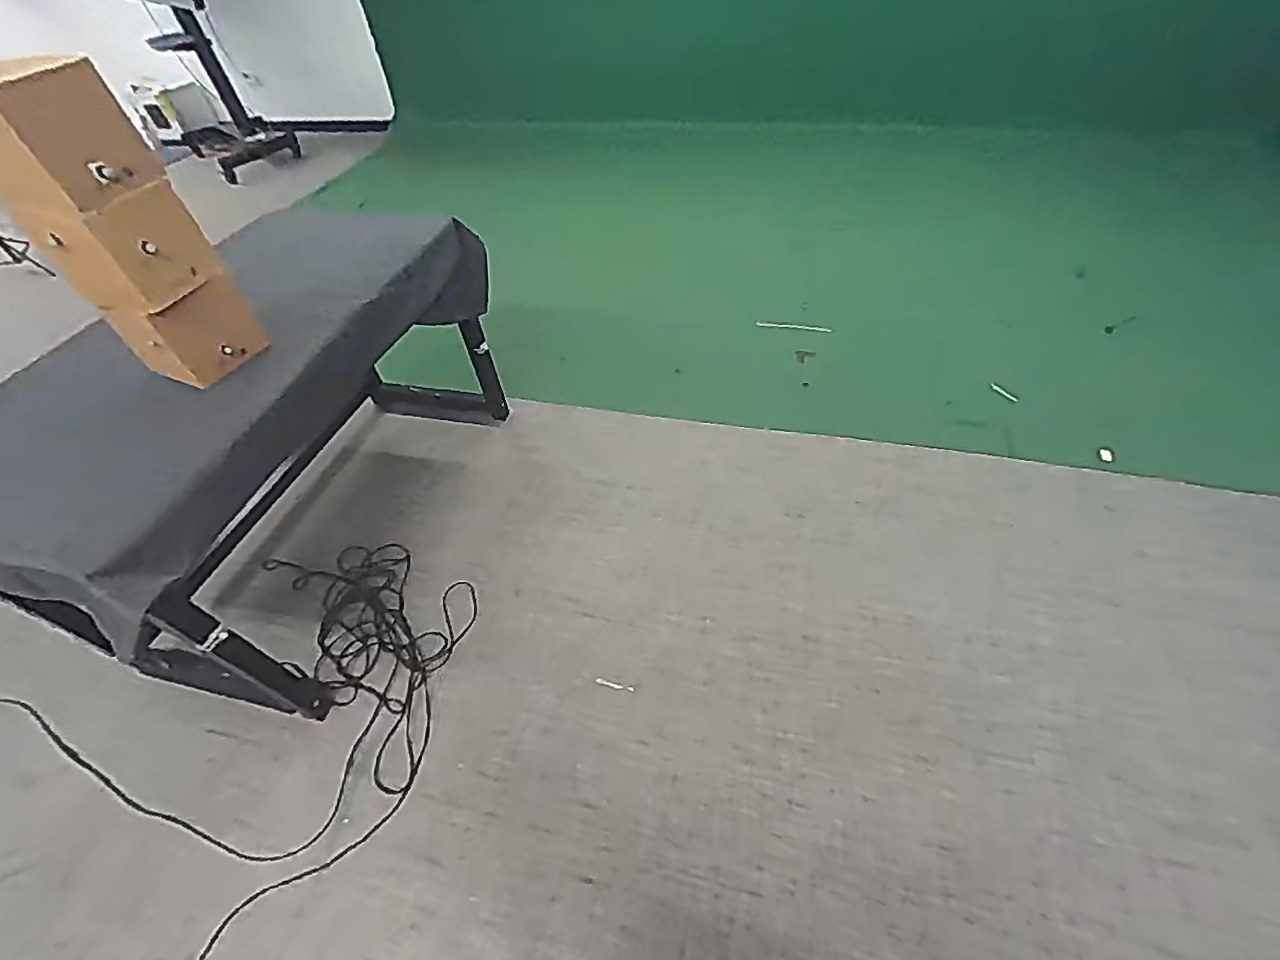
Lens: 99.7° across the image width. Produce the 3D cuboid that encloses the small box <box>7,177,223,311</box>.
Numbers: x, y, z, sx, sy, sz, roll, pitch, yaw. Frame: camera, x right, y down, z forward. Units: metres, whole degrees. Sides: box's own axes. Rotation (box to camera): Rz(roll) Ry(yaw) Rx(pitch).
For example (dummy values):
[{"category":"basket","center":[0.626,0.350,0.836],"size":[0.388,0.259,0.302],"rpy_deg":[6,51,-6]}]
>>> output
[{"category":"small box","center":[-0.903,-0.418,0.953],"size":[0.179,0.176,0.168],"rpy_deg":[10,51,14]}]

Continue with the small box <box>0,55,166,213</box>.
[{"category":"small box","center":[-0.914,-0.531,0.836],"size":[0.179,0.176,0.168],"rpy_deg":[9,52,12]}]
